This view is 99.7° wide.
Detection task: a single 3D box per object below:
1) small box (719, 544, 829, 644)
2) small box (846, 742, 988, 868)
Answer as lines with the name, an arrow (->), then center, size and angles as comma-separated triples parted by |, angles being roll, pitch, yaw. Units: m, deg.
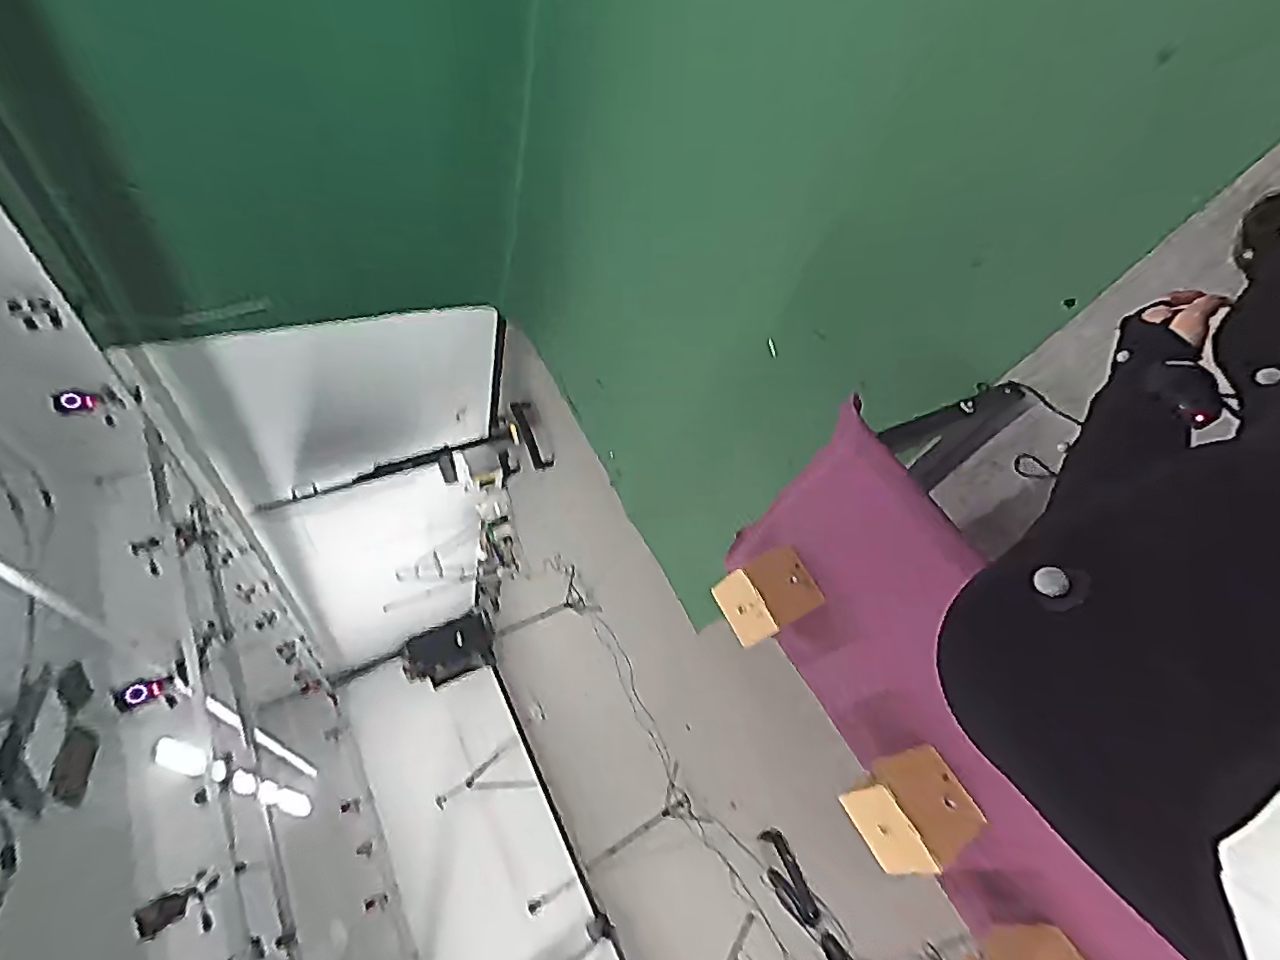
small box -> 0.334, 0.286, 1.358 | 0.168, 0.176, 0.179 | 60, 149, 19
small box -> 0.589, 0.692, 1.156 | 0.168, 0.176, 0.179 | 58, 148, 25
